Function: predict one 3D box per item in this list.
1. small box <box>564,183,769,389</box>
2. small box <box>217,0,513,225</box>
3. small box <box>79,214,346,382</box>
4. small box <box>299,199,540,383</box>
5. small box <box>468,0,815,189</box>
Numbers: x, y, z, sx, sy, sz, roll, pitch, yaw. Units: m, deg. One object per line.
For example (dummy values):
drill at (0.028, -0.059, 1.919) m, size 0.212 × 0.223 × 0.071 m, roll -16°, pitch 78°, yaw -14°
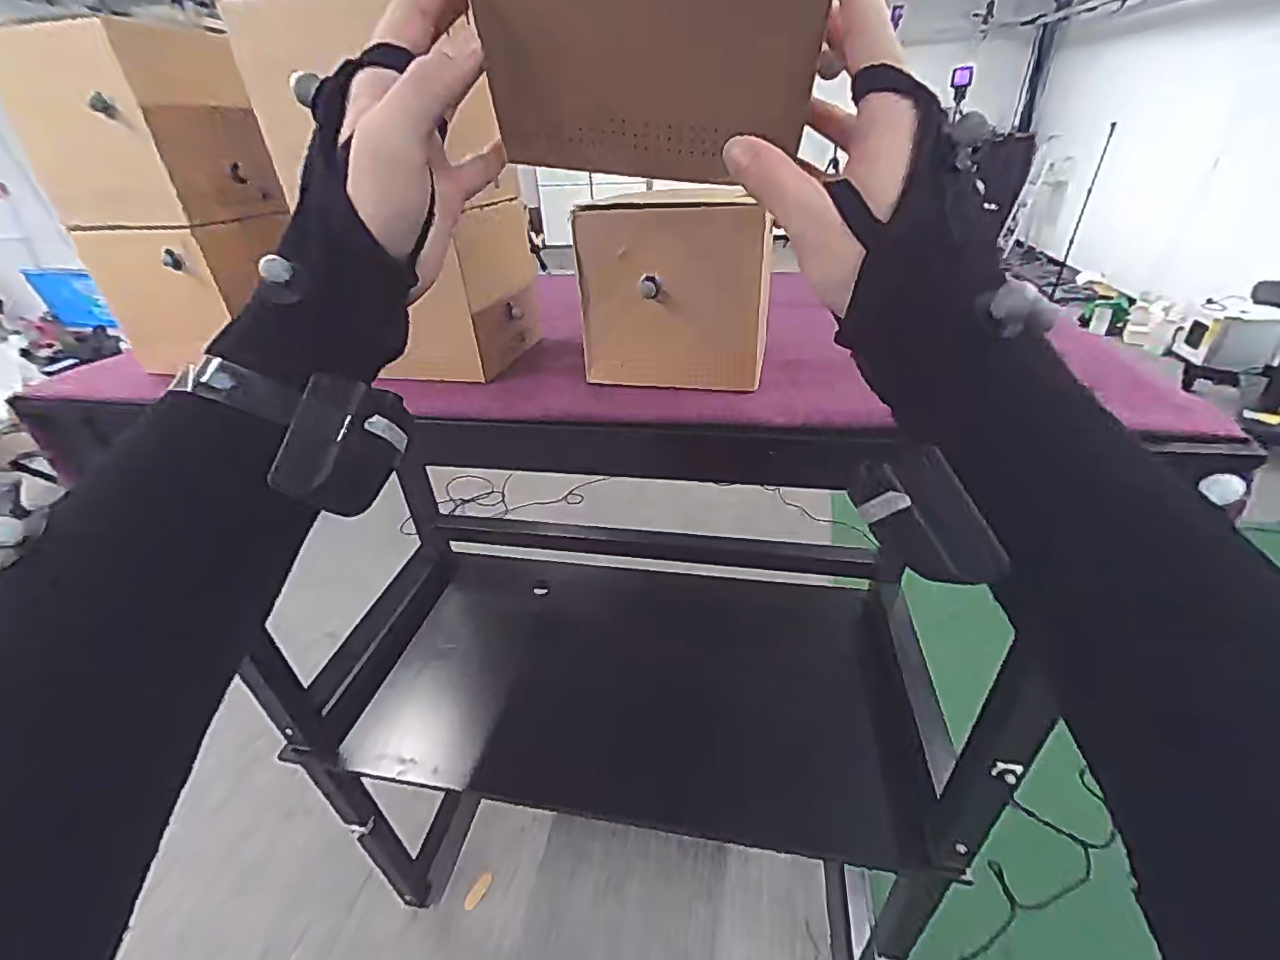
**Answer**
small box at (0.041, -0.204, 0.569) m, size 0.179 × 0.176 × 0.168 m, roll 3°, pitch 34°, yaw 14°
small box at (-0.247, -0.358, 0.539) m, size 0.179 × 0.176 × 0.168 m, roll 3°, pitch 33°, yaw 14°
small box at (-0.514, -0.231, 0.681) m, size 0.179 × 0.176 × 0.168 m, roll 5°, pitch 34°, yaw 12°
small box at (-0.237, -0.221, 0.628) m, size 0.179 × 0.176 × 0.168 m, roll 4°, pitch 34°, yaw 13°
small box at (0.010, -0.288, 0.296) m, size 0.179 × 0.176 × 0.168 m, roll 10°, pitch 63°, yaw 8°
